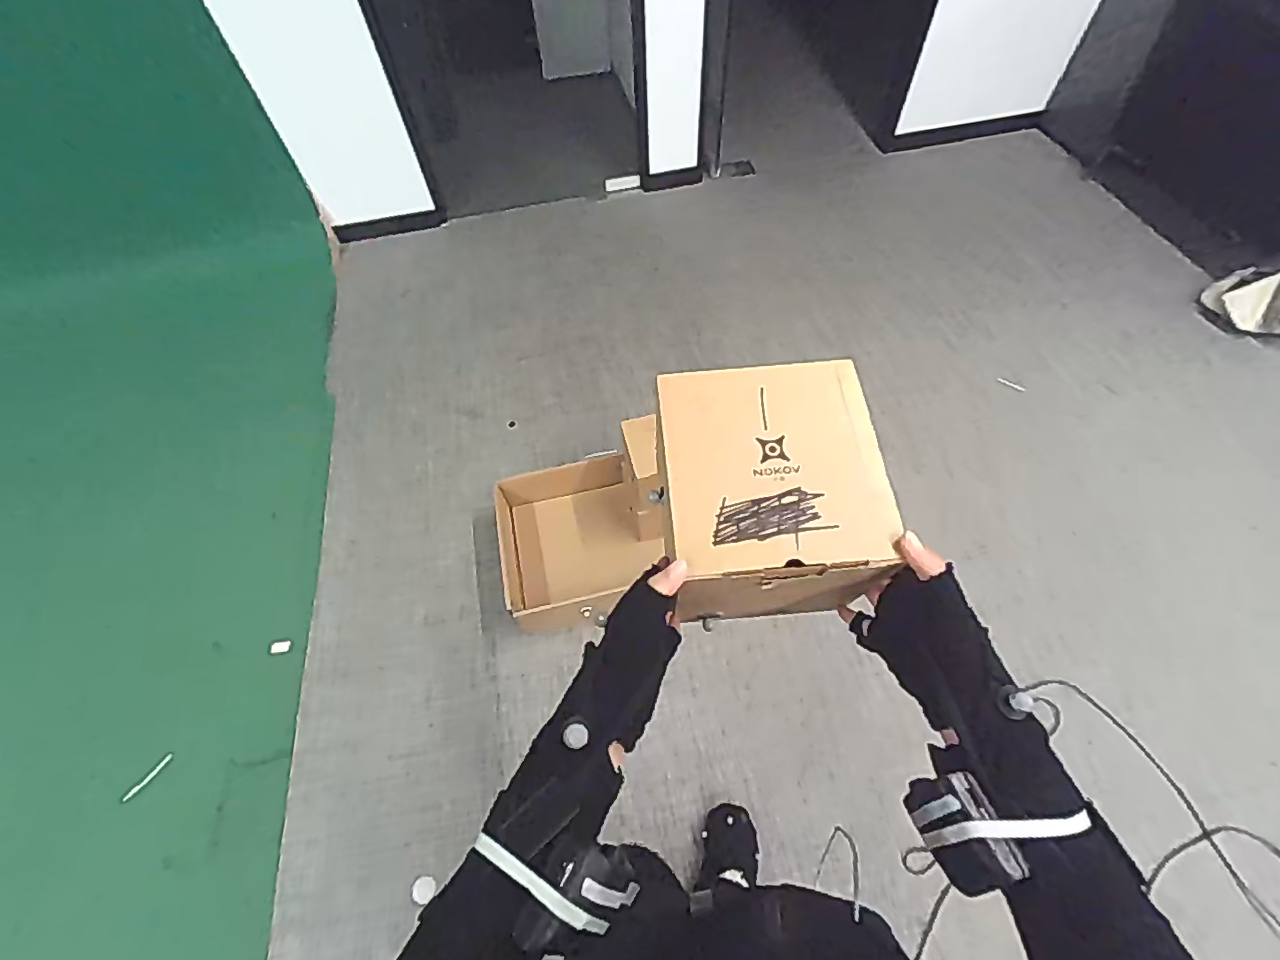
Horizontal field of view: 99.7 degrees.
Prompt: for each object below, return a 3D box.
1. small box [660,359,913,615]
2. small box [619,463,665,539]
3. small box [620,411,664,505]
[{"bbox_3d":[0.107,0.018,0.483,0.168,0.176,0.179,-5,64,-1],"label":"small box"},{"bbox_3d":[0.050,0.048,1.508,0.168,0.176,0.179,-17,58,-6],"label":"small box"},{"bbox_3d":[0.054,-0.053,1.356,0.168,0.176,0.179,-13,58,-5],"label":"small box"}]
